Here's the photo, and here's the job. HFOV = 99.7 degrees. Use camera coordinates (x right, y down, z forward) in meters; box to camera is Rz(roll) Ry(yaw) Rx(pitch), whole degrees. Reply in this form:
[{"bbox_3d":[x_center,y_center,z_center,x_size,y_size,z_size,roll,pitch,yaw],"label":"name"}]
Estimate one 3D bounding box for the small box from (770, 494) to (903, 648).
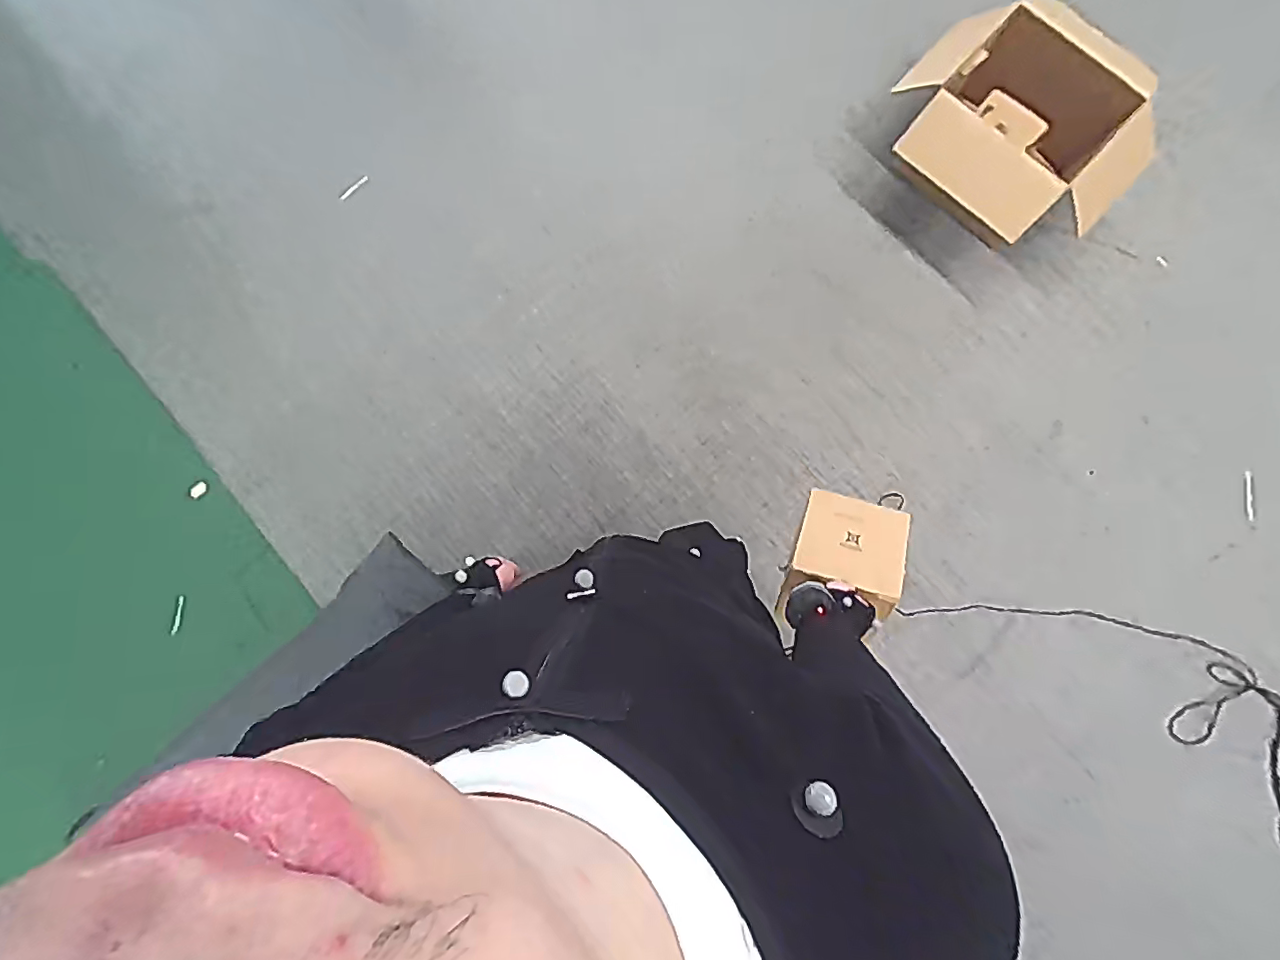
[{"bbox_3d":[0.332,0.161,0.932,0.168,0.176,0.179,18,50,13],"label":"small box"}]
